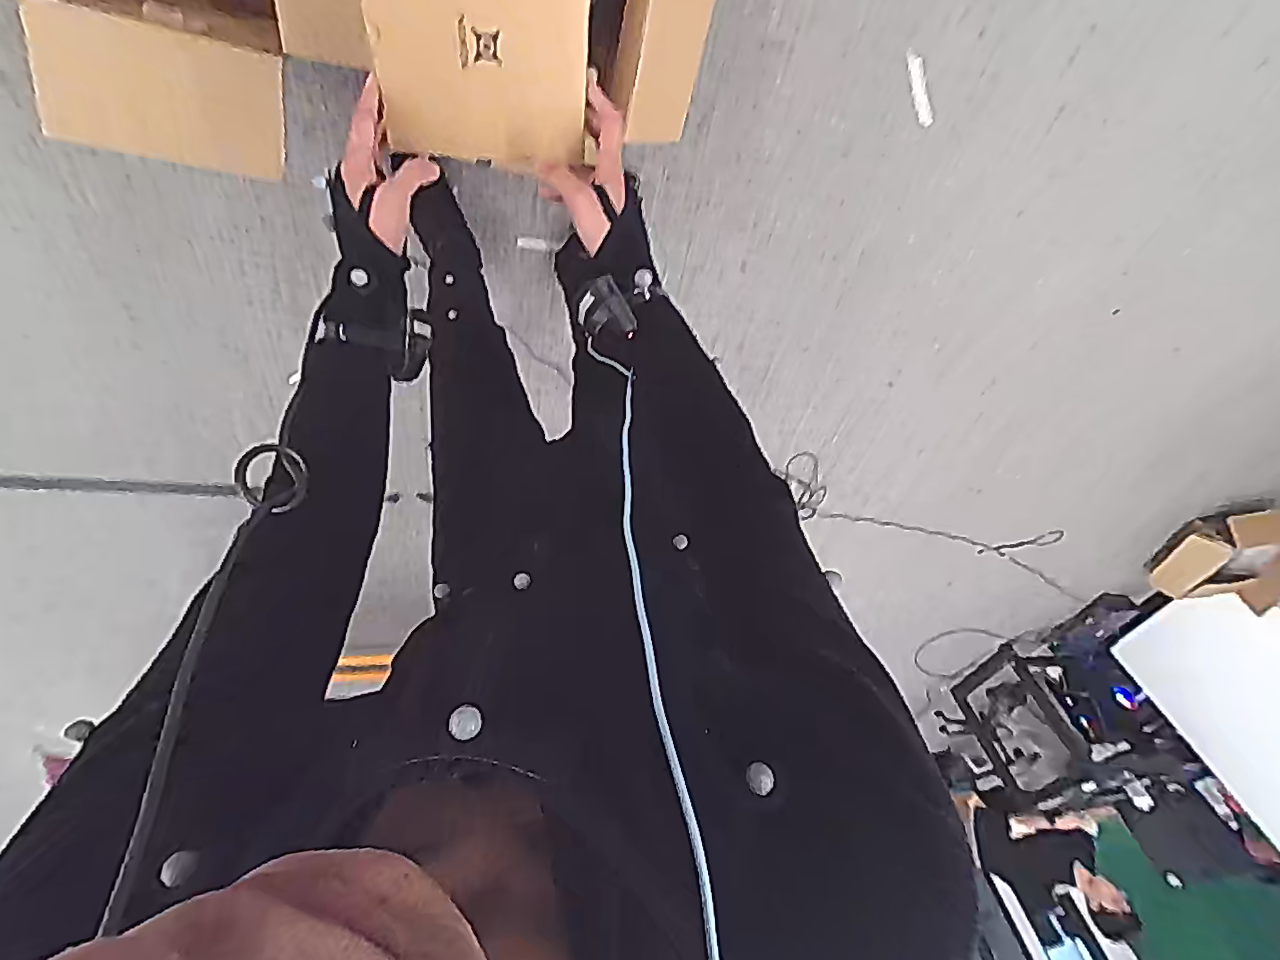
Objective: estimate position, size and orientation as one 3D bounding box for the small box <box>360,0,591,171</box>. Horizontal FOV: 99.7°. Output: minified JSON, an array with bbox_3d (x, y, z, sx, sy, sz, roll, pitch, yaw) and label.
[{"bbox_3d":[-0.139,-0.403,0.494,0.179,0.176,0.168,-1,135,-9],"label":"small box"}]
